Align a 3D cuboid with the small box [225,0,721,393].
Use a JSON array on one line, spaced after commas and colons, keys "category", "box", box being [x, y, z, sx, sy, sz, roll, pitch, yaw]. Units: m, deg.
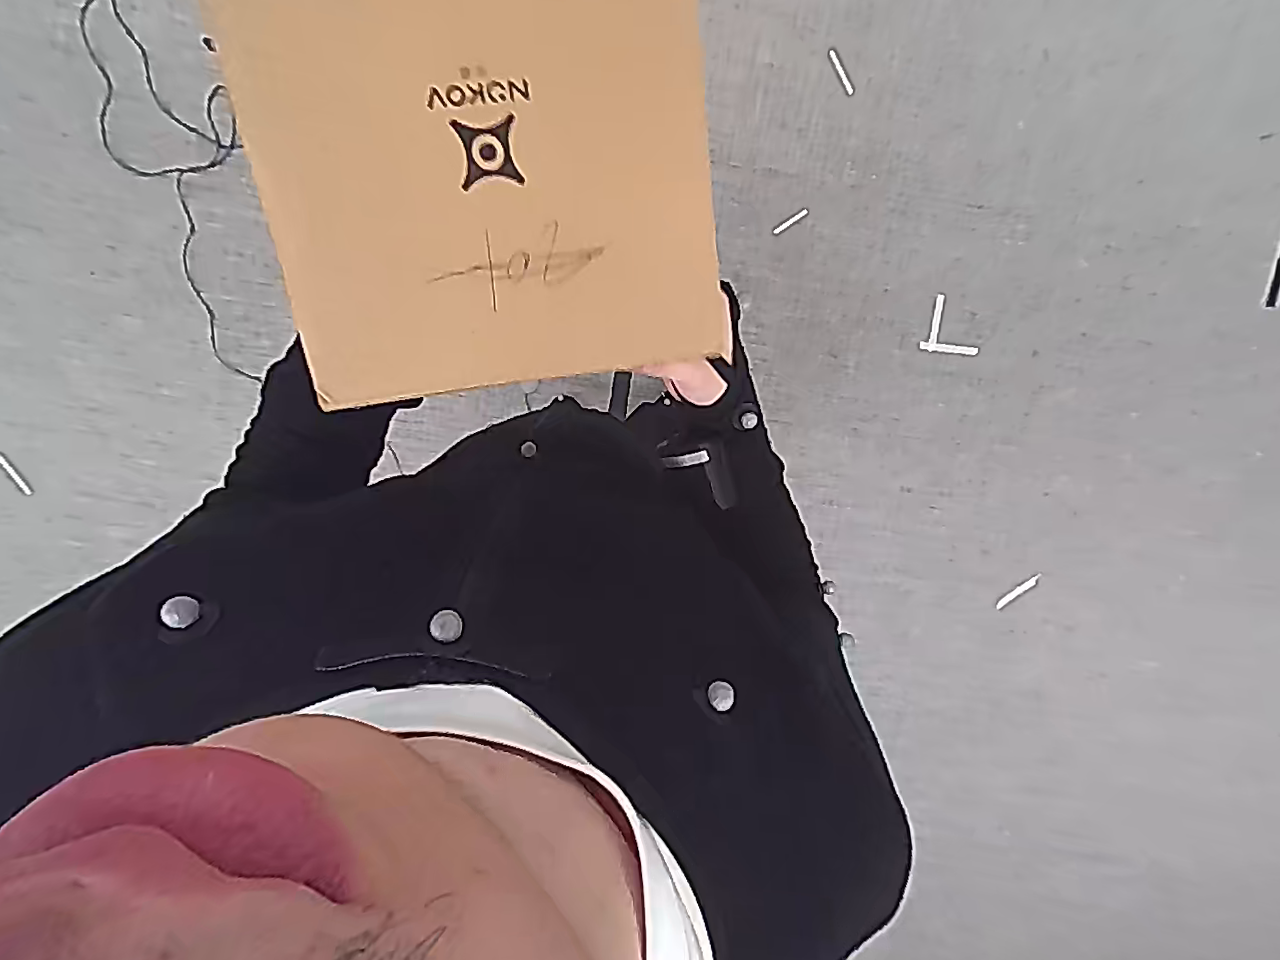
[{"category": "small box", "box": [-0.066, -0.152, 0.284, 0.168, 0.176, 0.179, -11, 107, -4]}]
